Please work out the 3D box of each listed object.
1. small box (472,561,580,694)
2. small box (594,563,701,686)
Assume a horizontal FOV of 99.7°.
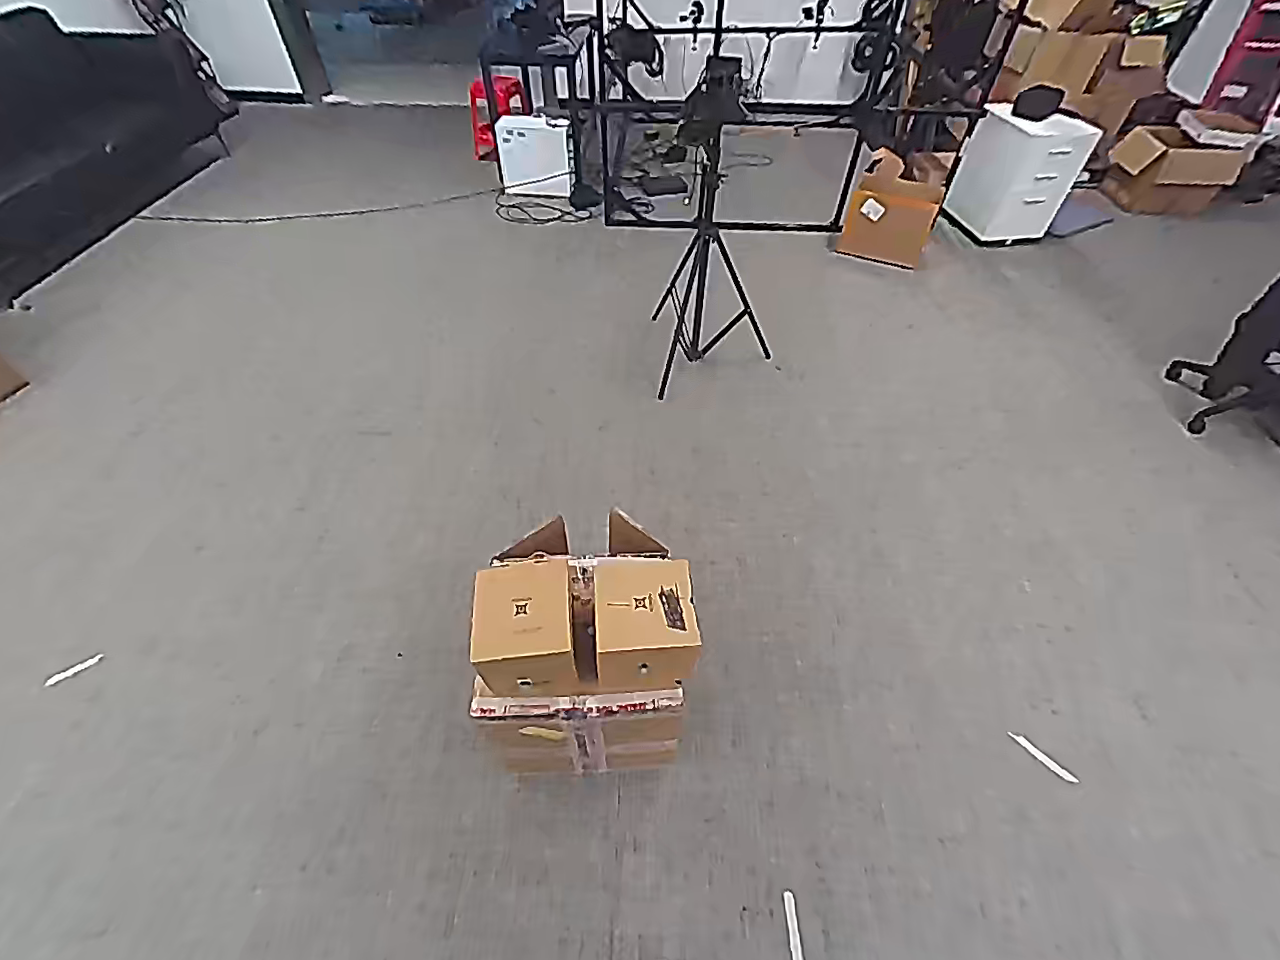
[{"bbox_3d":[-0.202,0.272,0.994,0.168,0.176,0.179,-7,53,-4],"label":"small box"},{"bbox_3d":[0.006,0.269,1.000,0.179,0.176,0.168,-3,51,-5],"label":"small box"}]
